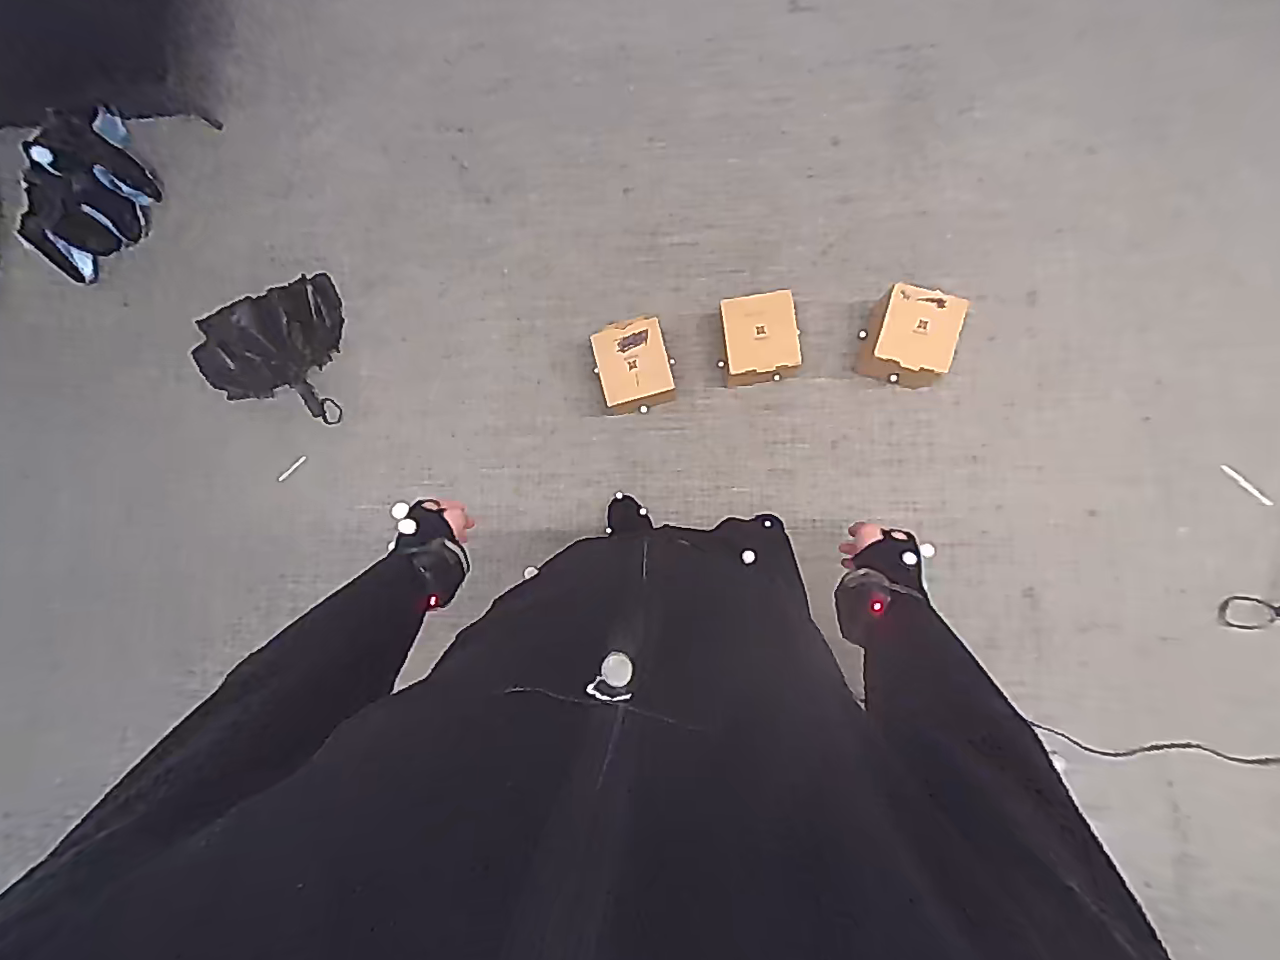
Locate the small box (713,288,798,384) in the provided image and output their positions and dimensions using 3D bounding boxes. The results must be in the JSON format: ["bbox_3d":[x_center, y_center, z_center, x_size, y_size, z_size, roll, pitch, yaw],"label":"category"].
[{"bbox_3d":[0.273,-0.337,1.307,0.168,0.176,0.179,-10,87,4],"label":"small box"}]

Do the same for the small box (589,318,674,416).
[{"bbox_3d":[-0.016,-0.270,1.329,0.168,0.176,0.179,-16,88,5],"label":"small box"}]

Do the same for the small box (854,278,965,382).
[{"bbox_3d":[0.621,-0.343,1.272,0.168,0.176,0.179,16,91,6],"label":"small box"}]
